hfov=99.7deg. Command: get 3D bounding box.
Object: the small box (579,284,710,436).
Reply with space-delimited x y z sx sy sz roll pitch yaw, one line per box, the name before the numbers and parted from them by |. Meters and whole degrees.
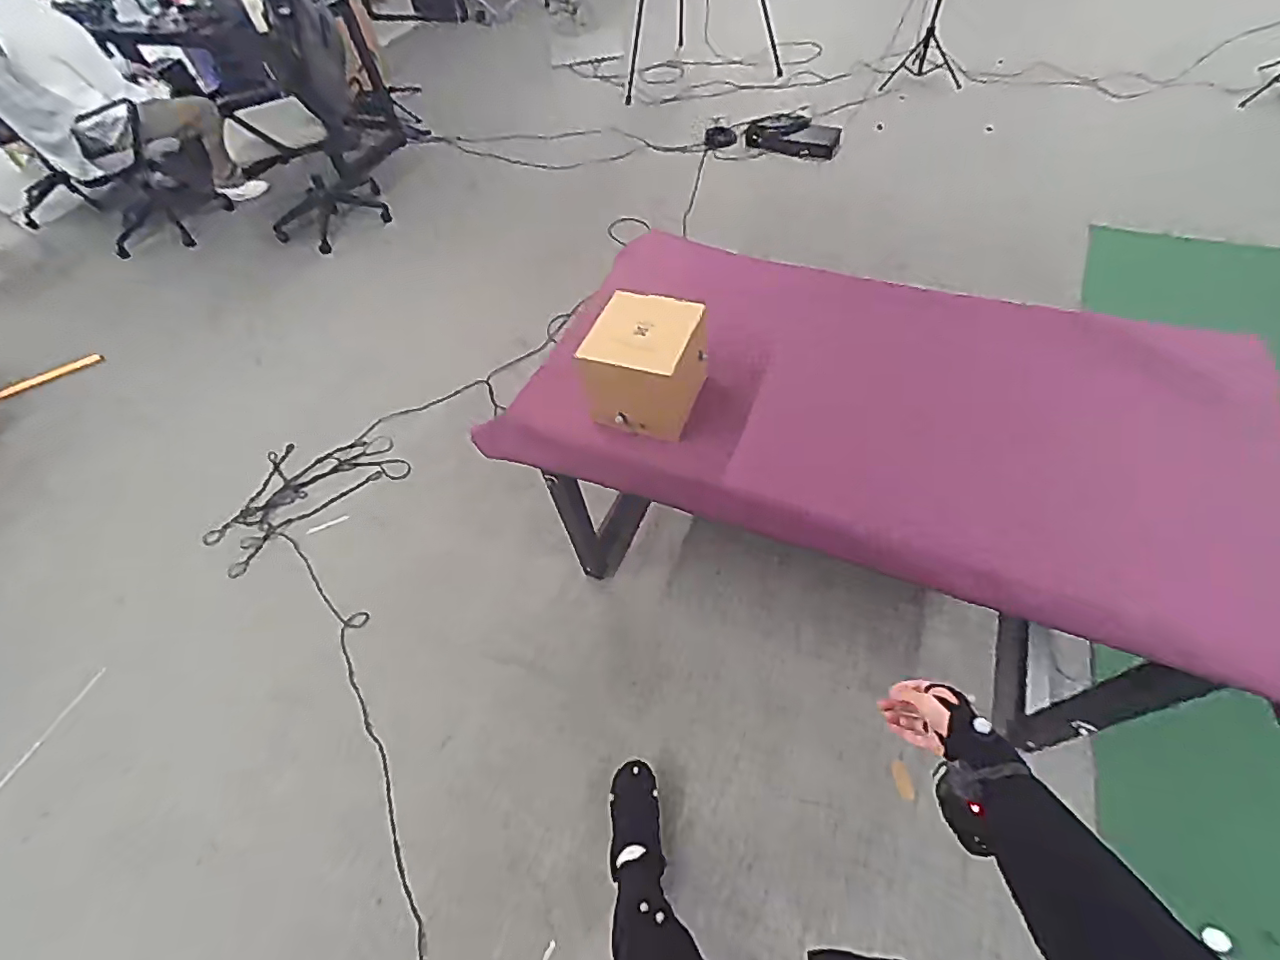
small box | 0.015 -0.208 0.943 0.168 0.176 0.179 16 59 17
